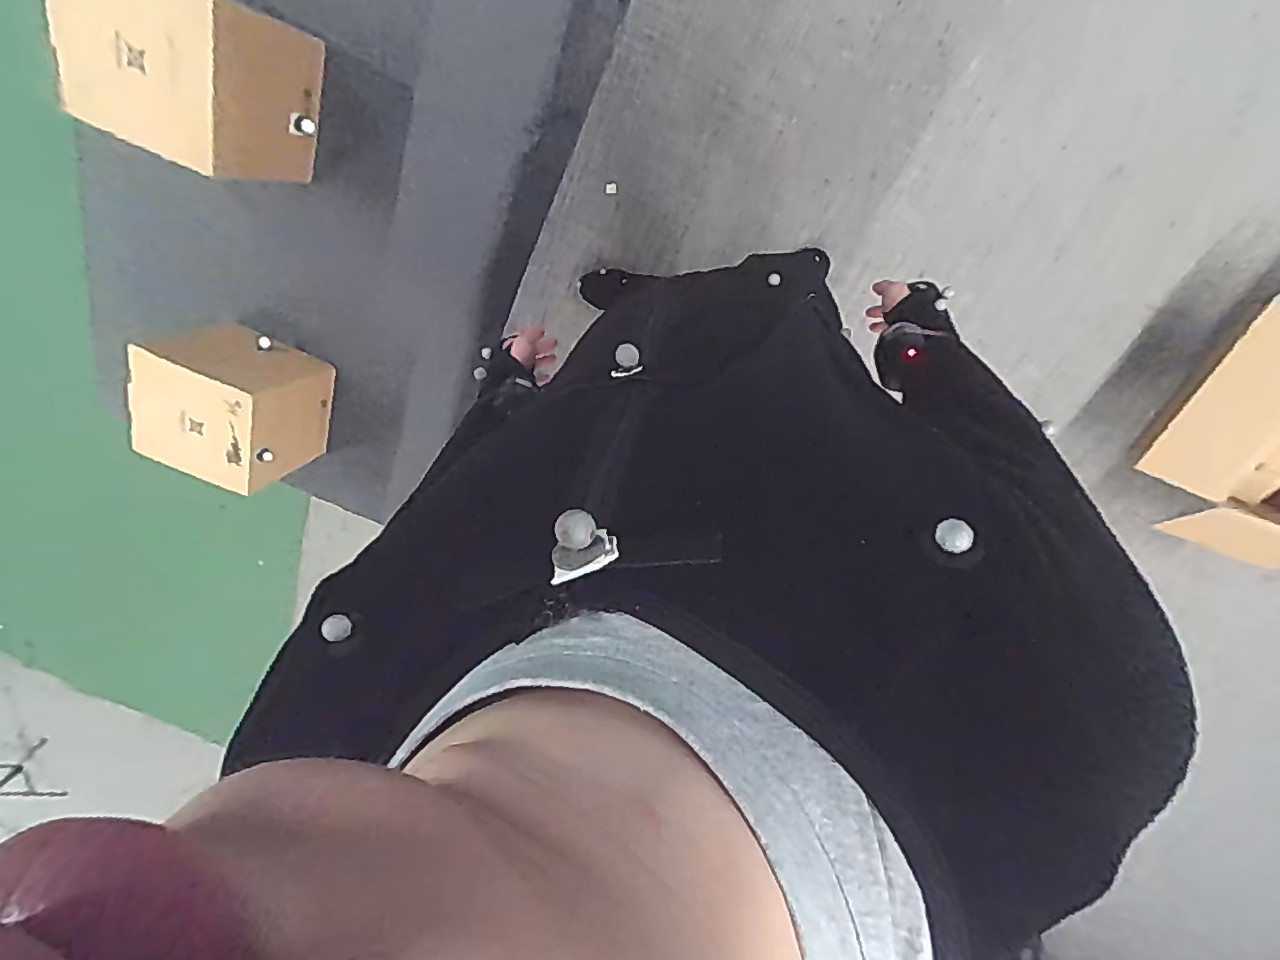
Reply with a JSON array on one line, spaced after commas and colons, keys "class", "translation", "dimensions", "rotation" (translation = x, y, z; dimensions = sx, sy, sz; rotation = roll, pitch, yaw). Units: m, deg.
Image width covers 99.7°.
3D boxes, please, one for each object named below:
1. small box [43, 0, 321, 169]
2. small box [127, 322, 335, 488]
[{"class": "small box", "translation": [-0.503, -0.470, 0.612], "dimensions": [0.179, 0.176, 0.168], "rotation": [22, 119, -4]}, {"class": "small box", "translation": [-0.595, -0.121, 0.801], "dimensions": [0.179, 0.176, 0.168], "rotation": [23, 118, -2]}]
